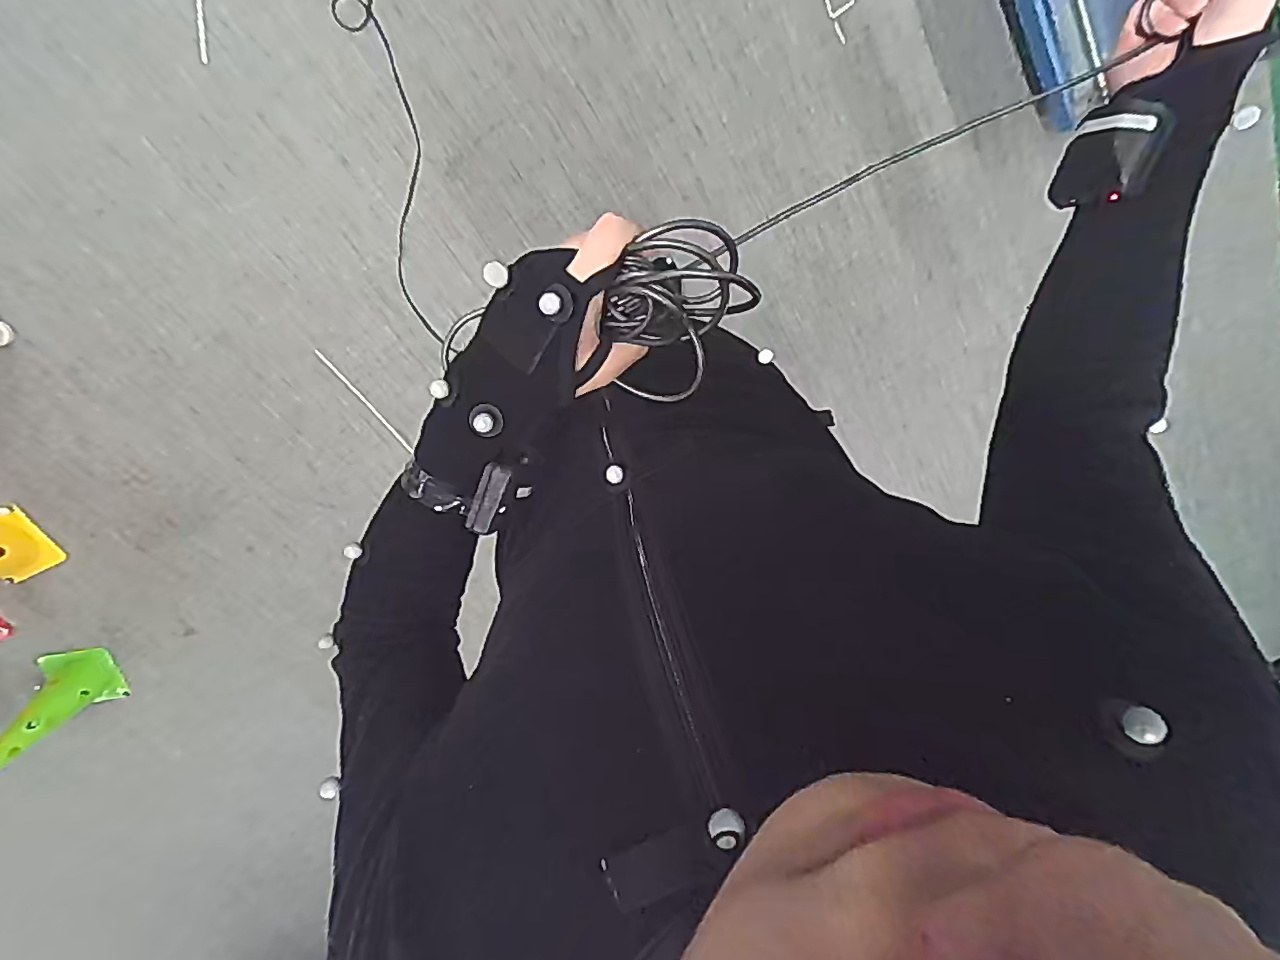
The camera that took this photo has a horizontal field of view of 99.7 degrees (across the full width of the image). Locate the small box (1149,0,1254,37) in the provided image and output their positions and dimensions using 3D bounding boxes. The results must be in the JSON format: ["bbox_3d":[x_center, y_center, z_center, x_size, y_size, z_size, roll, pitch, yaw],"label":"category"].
[{"bbox_3d":[1.204,-1.069,1.107,0.179,0.176,0.168,-34,113,9],"label":"small box"}]
